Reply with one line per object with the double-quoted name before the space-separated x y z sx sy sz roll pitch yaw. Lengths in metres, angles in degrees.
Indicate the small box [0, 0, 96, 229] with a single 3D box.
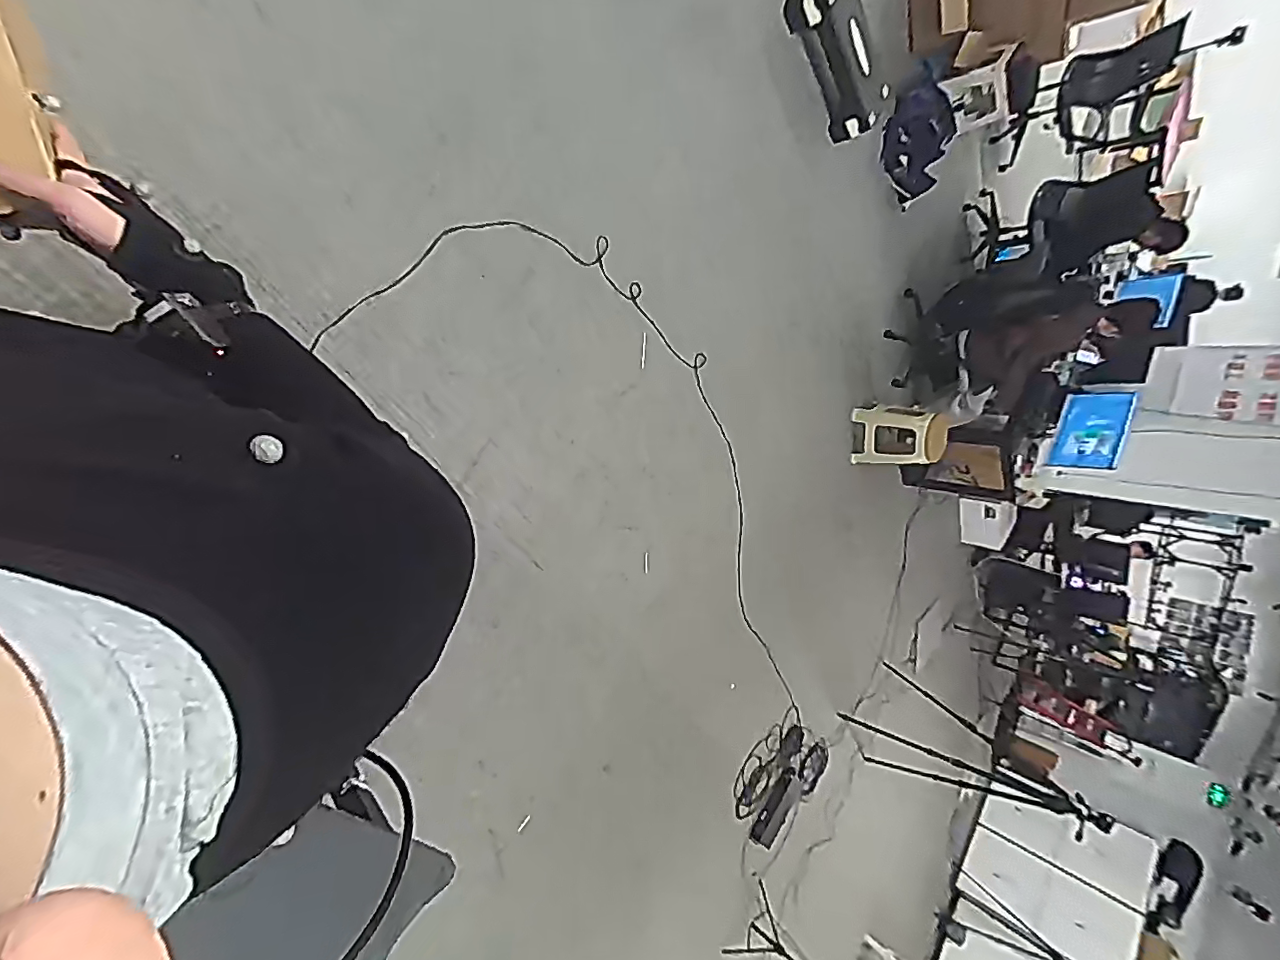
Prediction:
"small box" -0.560 -0.290 0.409 0.168 0.176 0.179 -18 116 -34
